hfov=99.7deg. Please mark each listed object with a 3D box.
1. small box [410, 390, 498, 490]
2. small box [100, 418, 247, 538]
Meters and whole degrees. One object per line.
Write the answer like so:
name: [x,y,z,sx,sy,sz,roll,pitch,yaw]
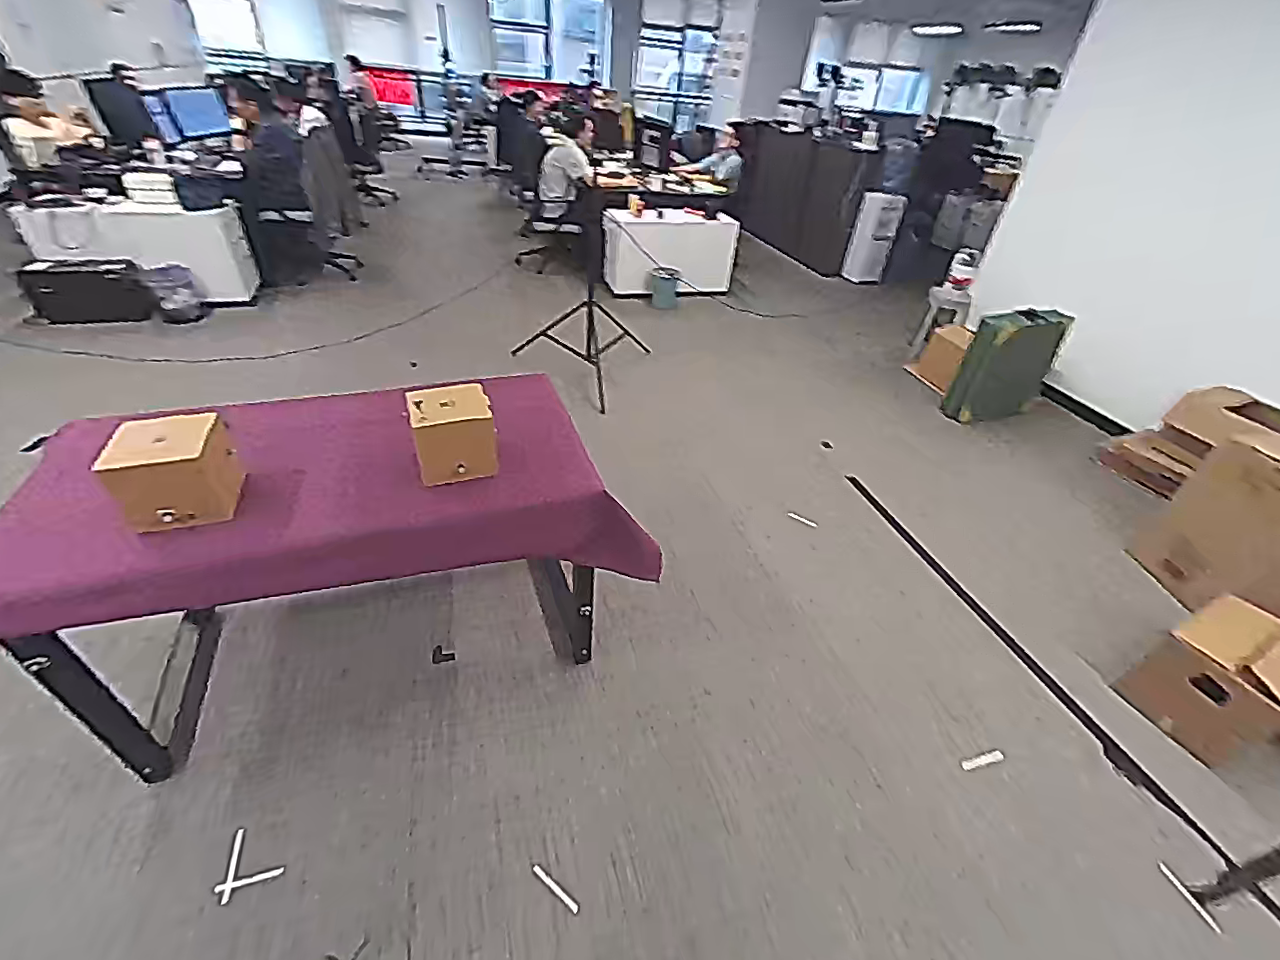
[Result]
small box: [-0.446,-0.098,1.307,0.179,0.176,0.168,-11,39,-21]
small box: [-0.947,-0.006,1.121,0.168,0.176,0.179,-11,40,-19]
